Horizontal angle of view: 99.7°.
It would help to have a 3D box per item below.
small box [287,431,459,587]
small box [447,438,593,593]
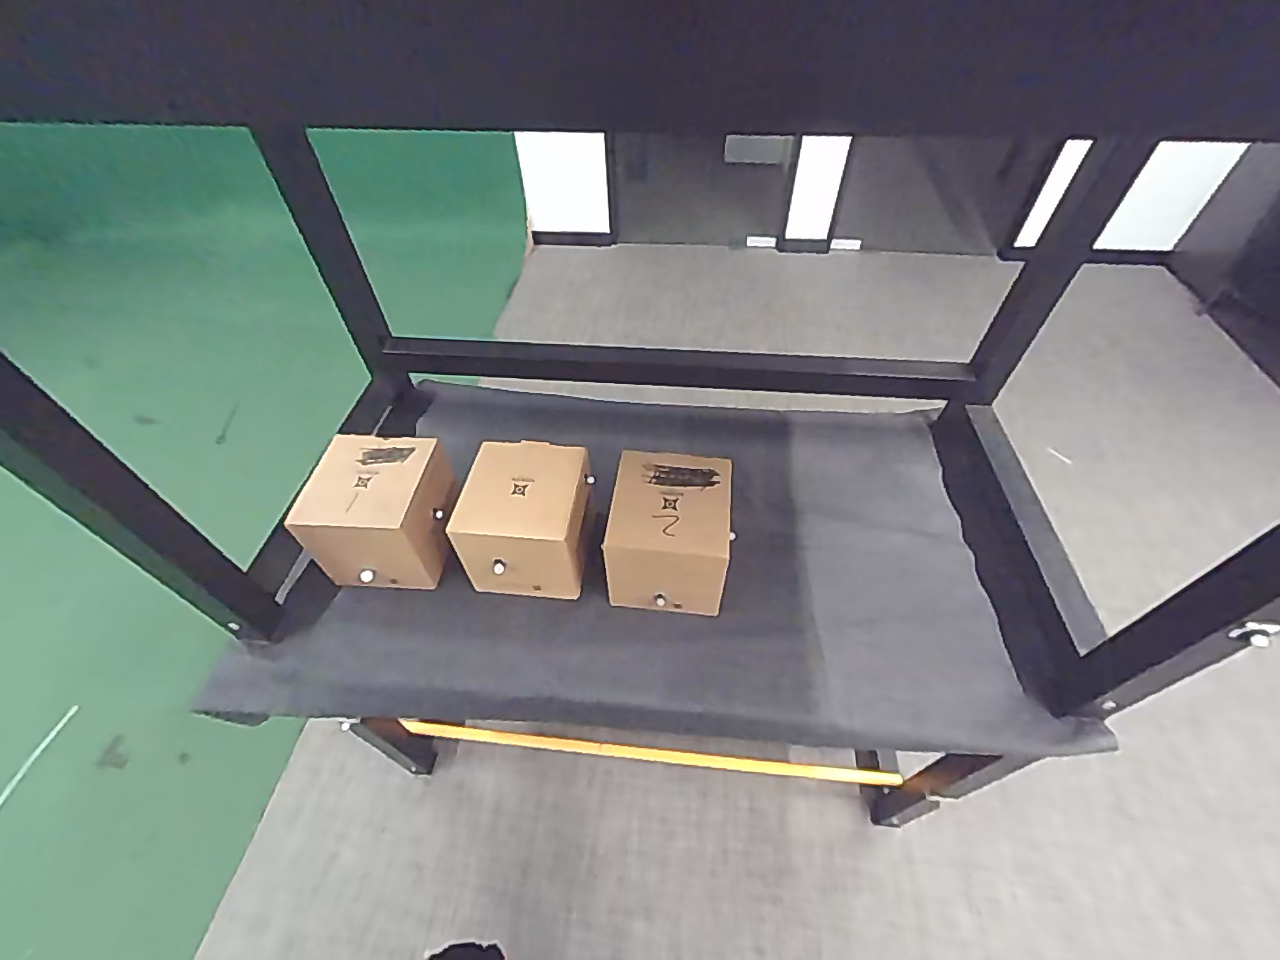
[{"bbox_3d":[-0.396,0.045,0.847,0.168,0.176,0.179,2,50,3],"label":"small box"},{"bbox_3d":[-0.170,0.057,0.835,0.168,0.176,0.179,4,49,4],"label":"small box"}]
